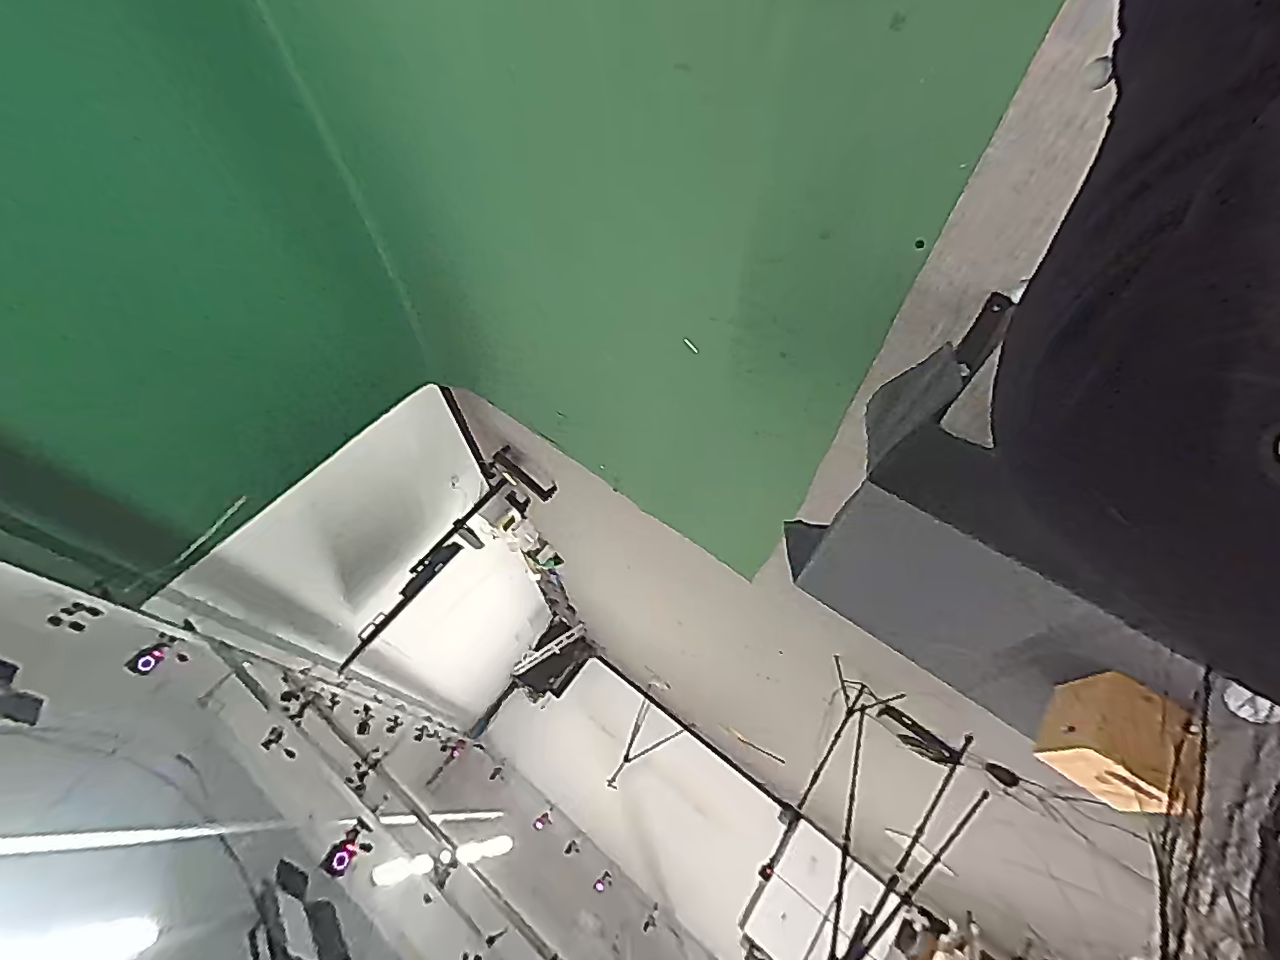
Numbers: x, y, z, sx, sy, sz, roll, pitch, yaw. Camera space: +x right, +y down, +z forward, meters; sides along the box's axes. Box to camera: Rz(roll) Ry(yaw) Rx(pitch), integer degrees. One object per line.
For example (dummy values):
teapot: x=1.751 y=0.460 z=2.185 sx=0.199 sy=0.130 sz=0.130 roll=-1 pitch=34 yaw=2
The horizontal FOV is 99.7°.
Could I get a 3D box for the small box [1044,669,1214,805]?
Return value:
small box: x=0.928 y=0.485 z=1.031 sx=0.168 sy=0.176 sz=0.179 roll=33 pitch=156 yaw=19
